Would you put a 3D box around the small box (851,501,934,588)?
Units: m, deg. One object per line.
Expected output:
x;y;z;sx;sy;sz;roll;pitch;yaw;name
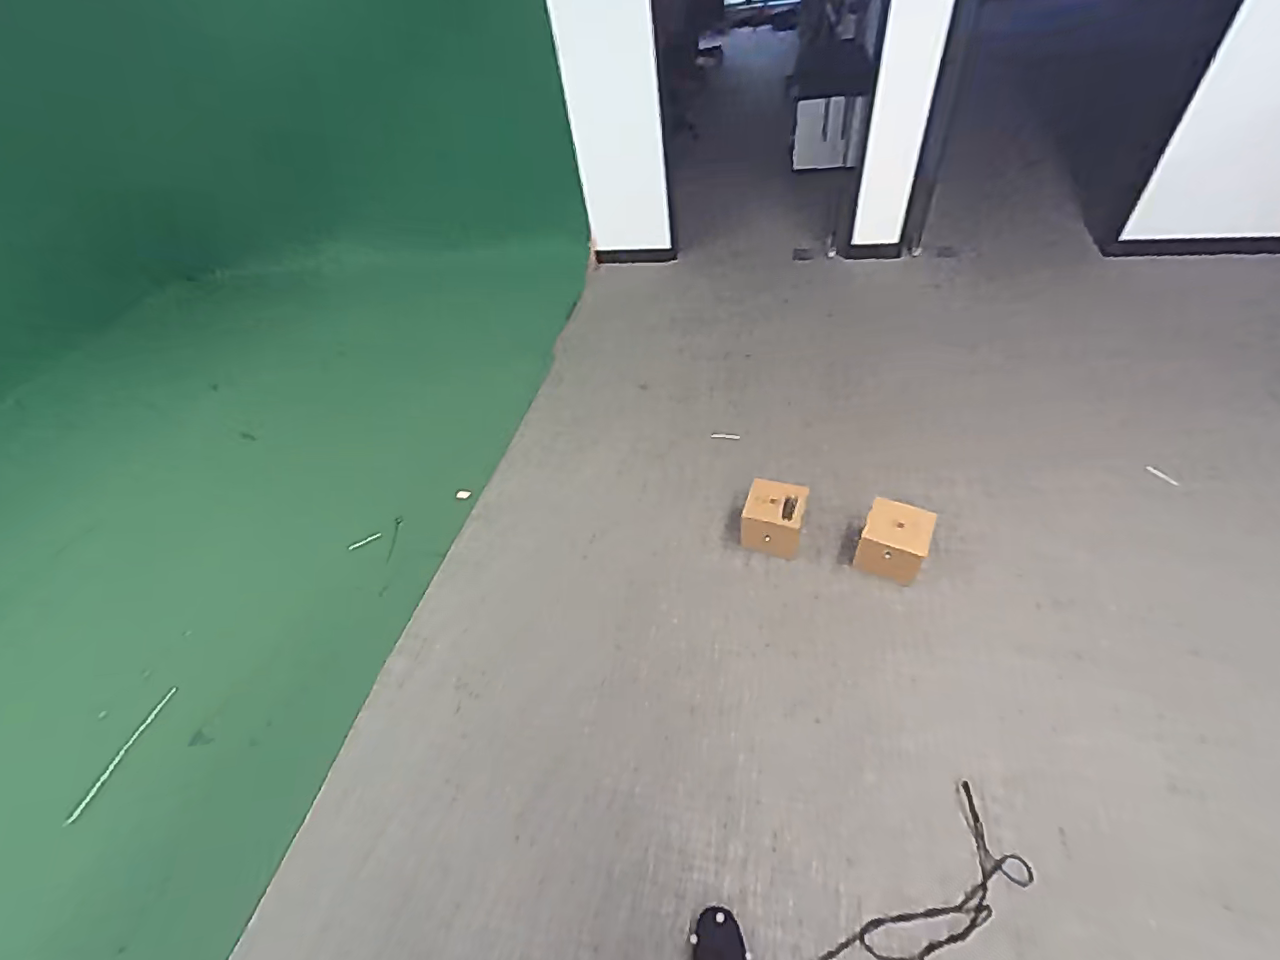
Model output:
0.745;0.195;1.612;0.179;0.176;0.168;19;54;24;small box
